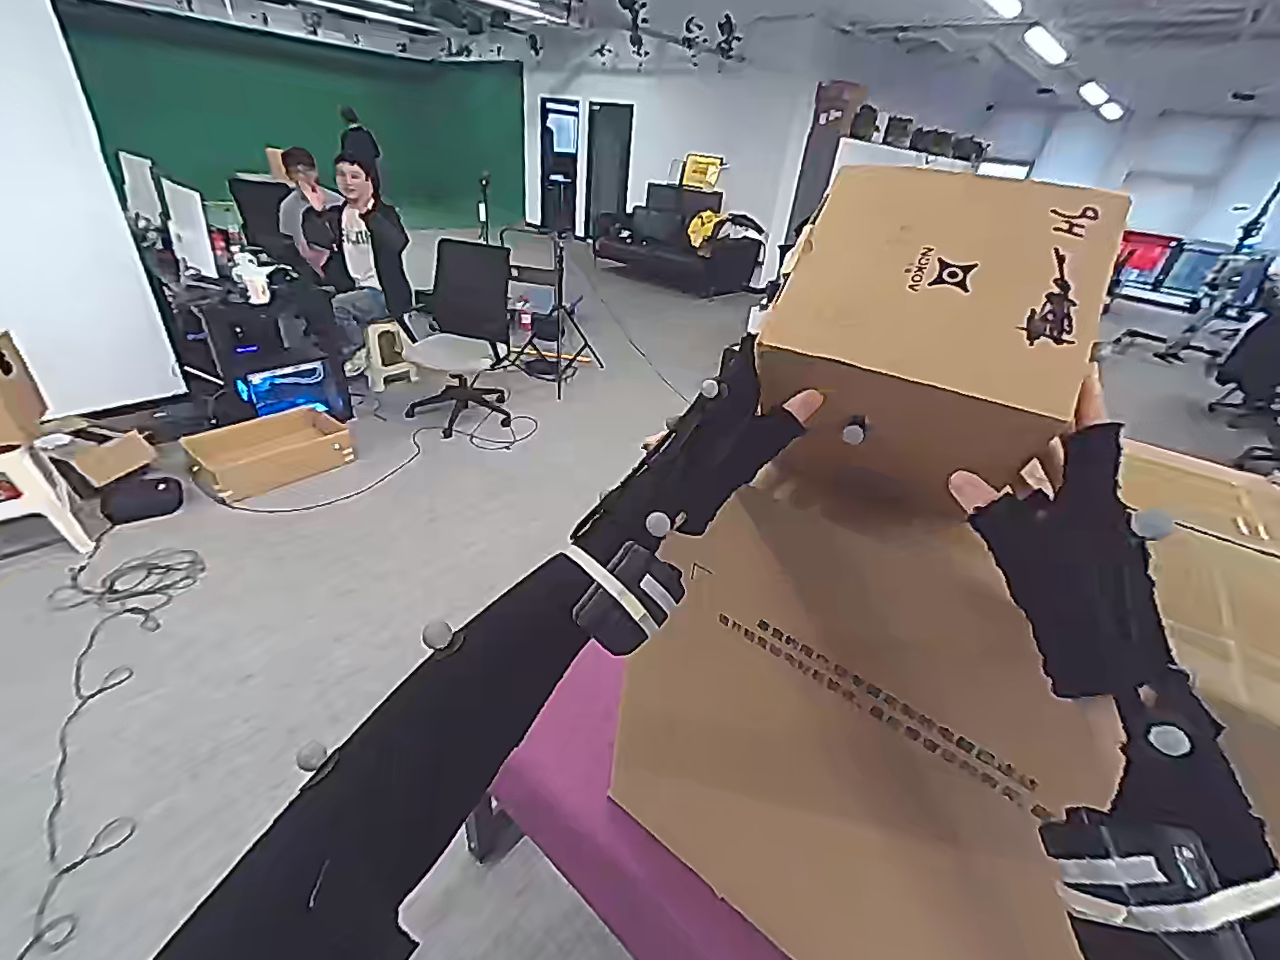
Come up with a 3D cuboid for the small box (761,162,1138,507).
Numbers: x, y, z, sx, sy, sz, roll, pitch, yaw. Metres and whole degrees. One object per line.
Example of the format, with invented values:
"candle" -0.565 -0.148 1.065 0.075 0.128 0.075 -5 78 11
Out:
"small box" 0.206 -0.099 0.402 0.179 0.176 0.168 21 73 23
